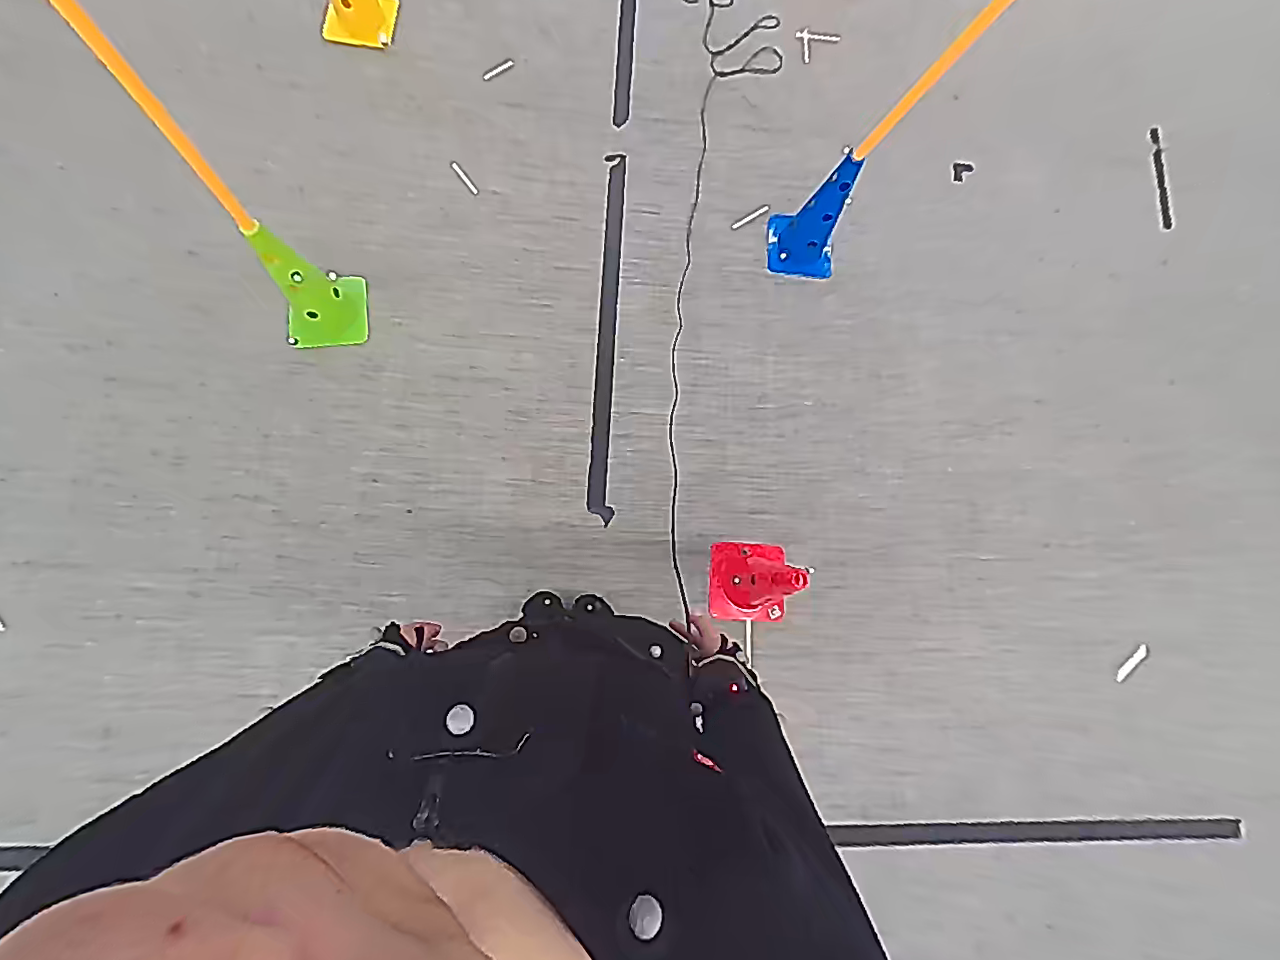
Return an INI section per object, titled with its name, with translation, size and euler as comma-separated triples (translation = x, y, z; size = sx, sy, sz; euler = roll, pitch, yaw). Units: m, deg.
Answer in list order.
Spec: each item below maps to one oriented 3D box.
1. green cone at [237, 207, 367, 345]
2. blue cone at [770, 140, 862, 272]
[green cone]
translation = -0.822, -0.500, 1.287
size = 0.200, 0.368, 0.202
euler = -7, 77, -7
[blue cone]
translation = 0.503, -0.758, 1.484
size = 0.193, 0.380, 0.192
euler = 6, 77, -5
